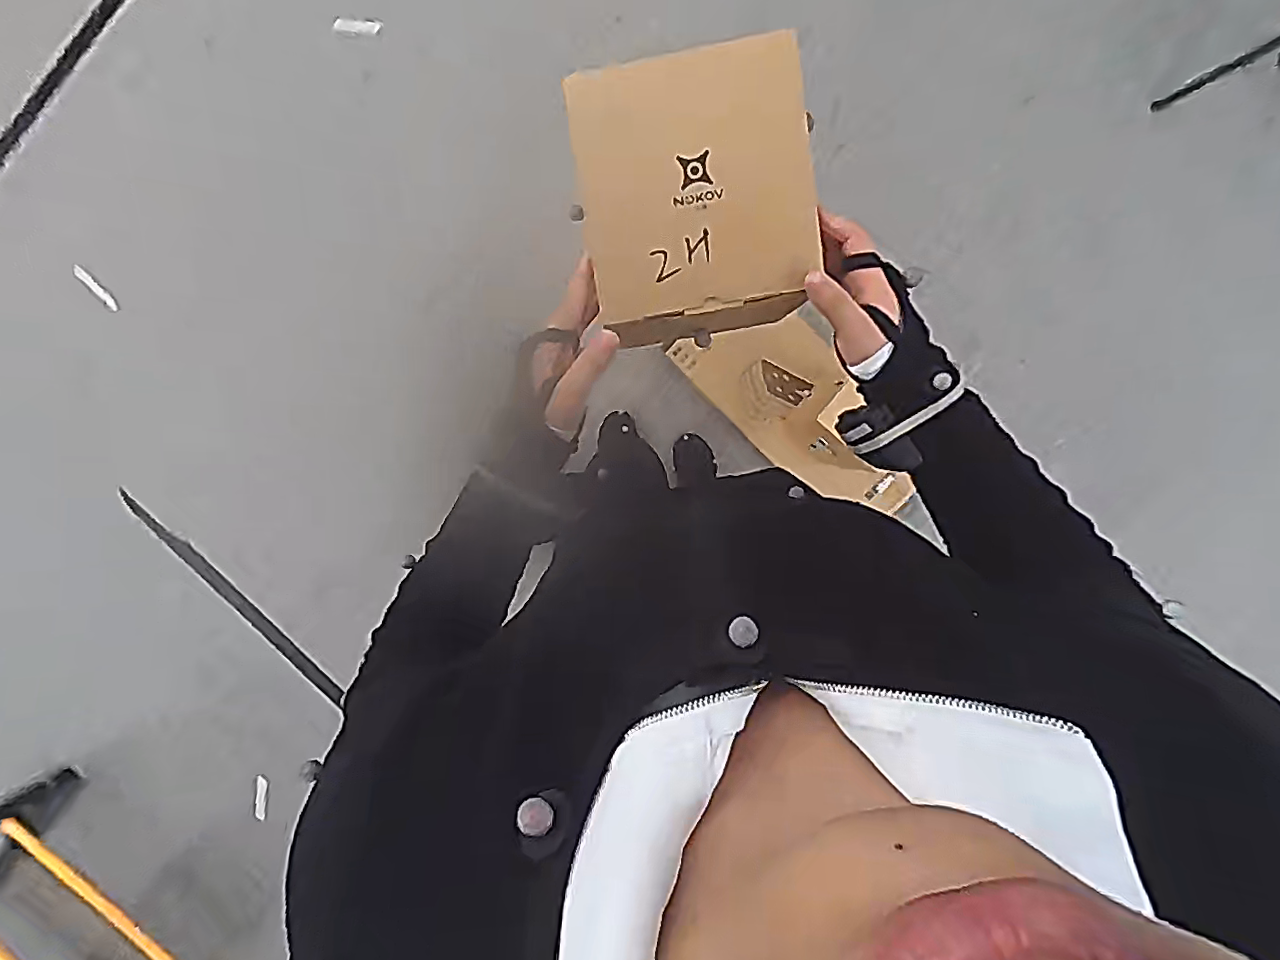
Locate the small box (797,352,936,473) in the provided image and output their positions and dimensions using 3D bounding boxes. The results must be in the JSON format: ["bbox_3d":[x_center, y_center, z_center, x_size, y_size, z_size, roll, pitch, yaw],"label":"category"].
[{"bbox_3d":[0.452,-0.136,1.113,0.168,0.176,0.179,40,96,-1],"label":"small box"}]

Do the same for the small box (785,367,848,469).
[{"bbox_3d":[0.463,-0.146,1.276,0.168,0.176,0.179,42,96,-3],"label":"small box"}]

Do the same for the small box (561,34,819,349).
[{"bbox_3d":[0.039,-0.220,0.463,0.168,0.176,0.179,-10,98,4],"label":"small box"}]
